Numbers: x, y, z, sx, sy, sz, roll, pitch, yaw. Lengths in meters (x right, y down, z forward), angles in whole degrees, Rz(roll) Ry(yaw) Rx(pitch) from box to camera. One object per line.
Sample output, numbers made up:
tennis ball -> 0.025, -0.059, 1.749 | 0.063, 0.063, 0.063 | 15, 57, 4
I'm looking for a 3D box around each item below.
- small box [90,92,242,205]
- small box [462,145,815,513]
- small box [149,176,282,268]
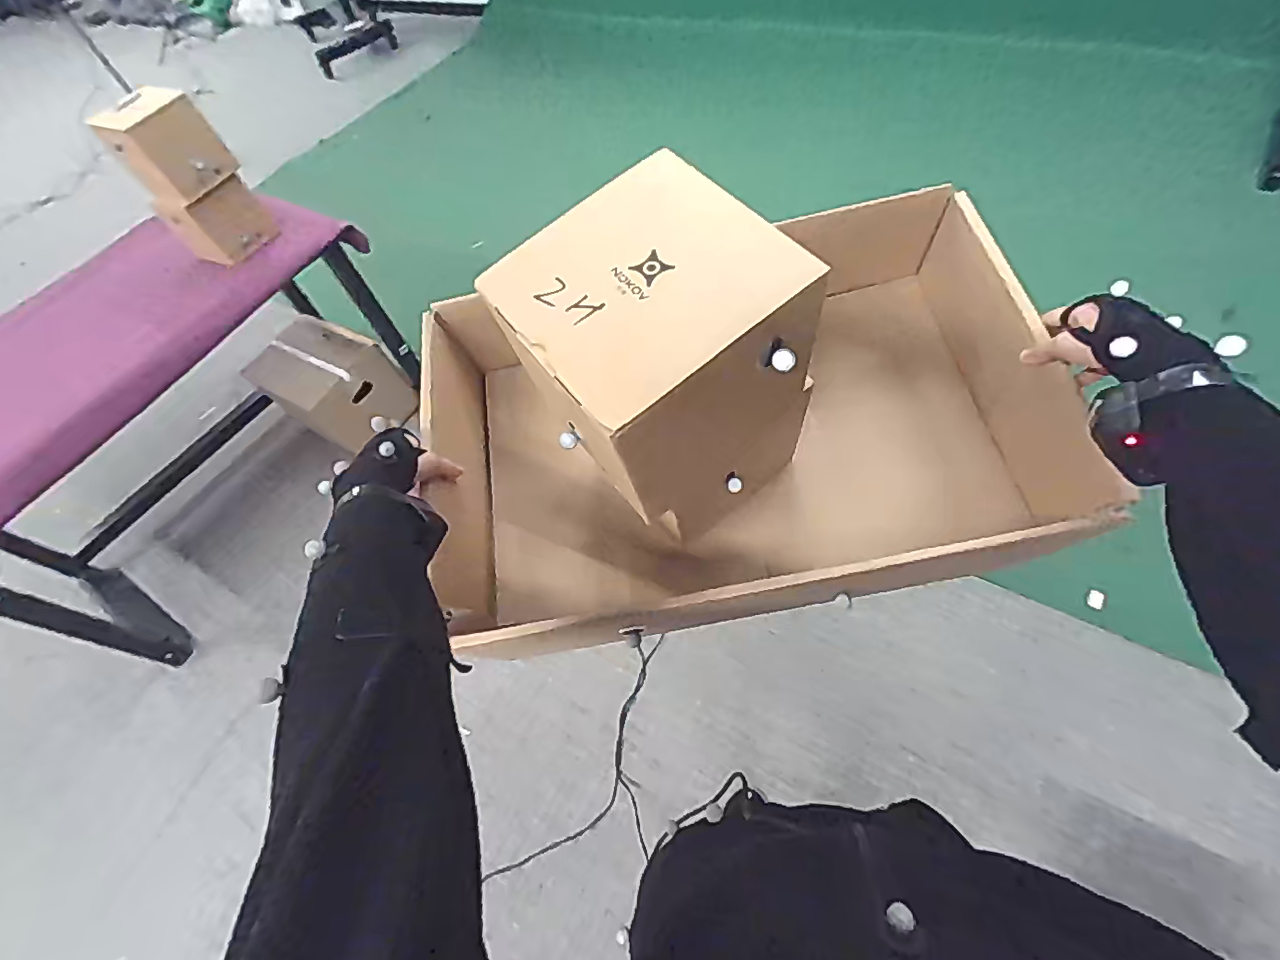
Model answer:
small box -> -1.099, -0.772, 1.266 | 0.179, 0.176, 0.168 | 21, 65, 22
small box -> 0.004, -0.104, 0.421 | 0.179, 0.176, 0.168 | -39, 66, -6
small box -> -1.091, -0.676, 1.401 | 0.179, 0.176, 0.168 | 20, 65, 23
